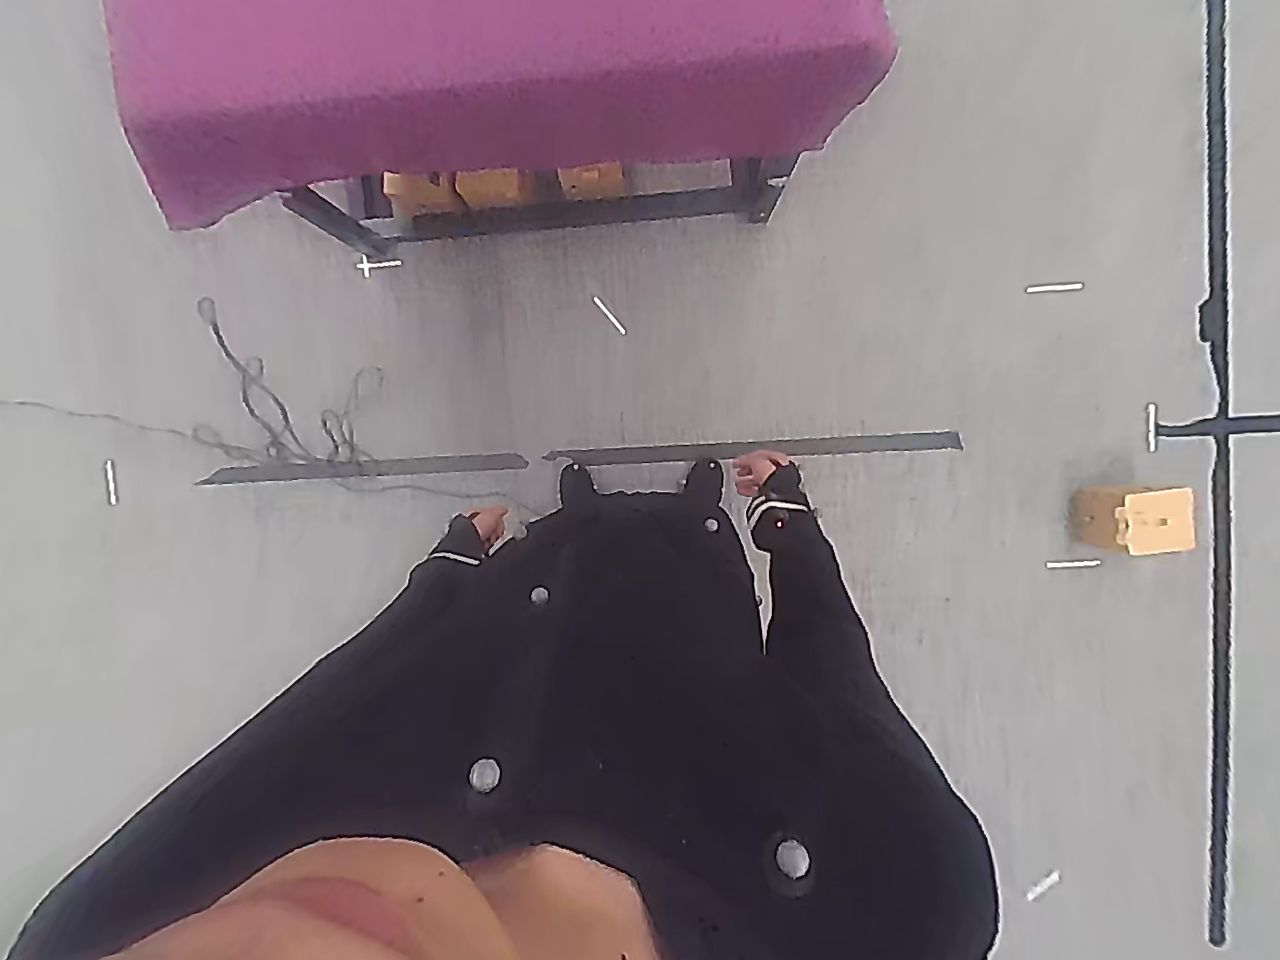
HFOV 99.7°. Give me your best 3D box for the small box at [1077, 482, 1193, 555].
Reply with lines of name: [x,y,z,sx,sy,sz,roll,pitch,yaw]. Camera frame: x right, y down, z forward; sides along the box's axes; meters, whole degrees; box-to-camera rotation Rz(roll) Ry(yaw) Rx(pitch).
small box: [1.361,0.101,1.494,0.179,0.176,0.168,-7,95,4]
